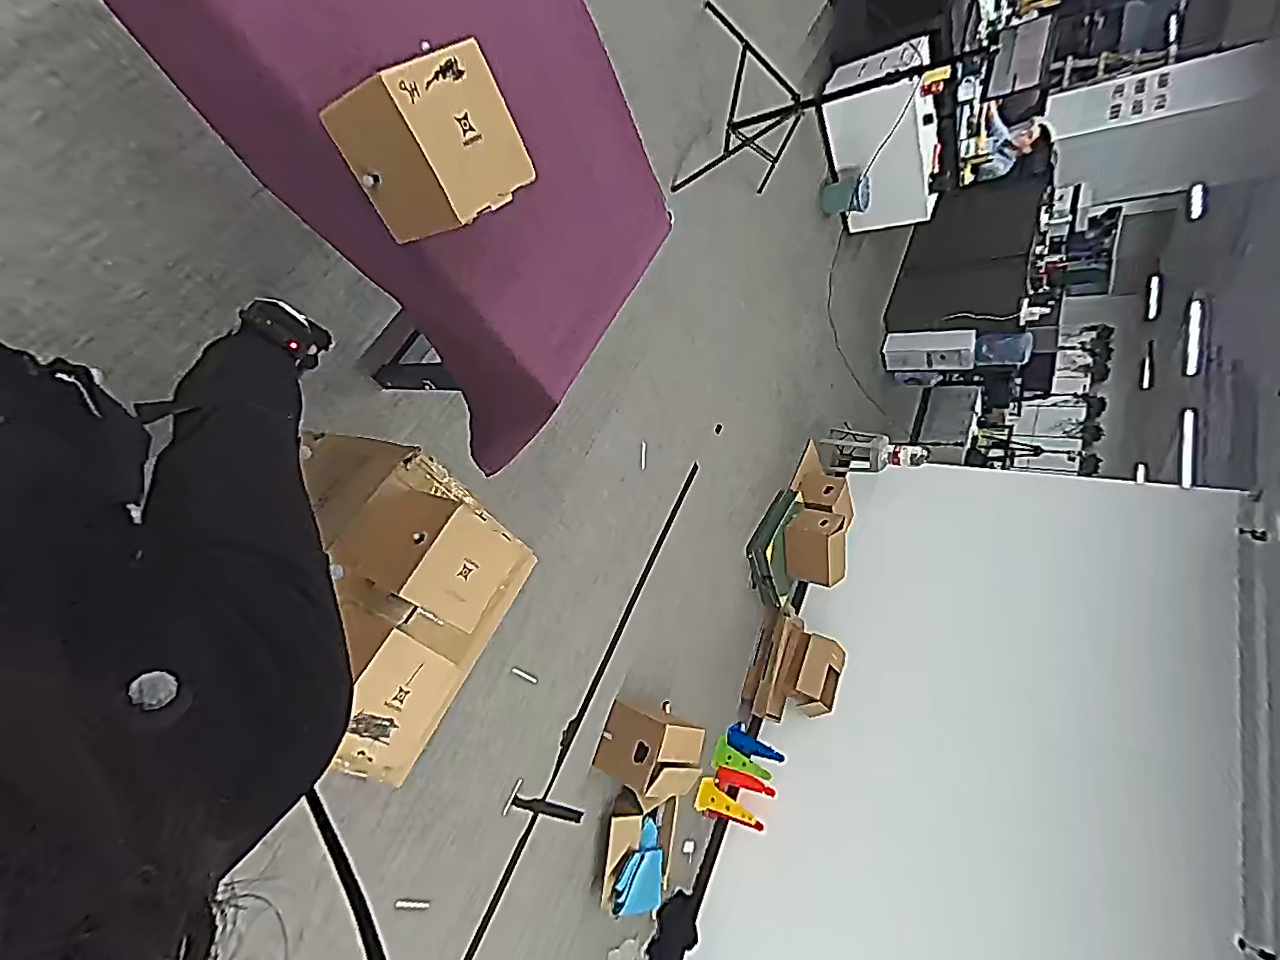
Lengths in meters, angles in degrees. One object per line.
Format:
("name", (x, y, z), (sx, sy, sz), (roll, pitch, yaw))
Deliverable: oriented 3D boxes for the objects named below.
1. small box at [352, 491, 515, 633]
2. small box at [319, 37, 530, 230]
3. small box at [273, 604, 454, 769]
("small box", (-0.364, 0.136, 0.953), (0.168, 0.176, 0.179), (52, 58, -42))
("small box", (-0.294, -0.467, 0.752), (0.168, 0.176, 0.179), (-53, 136, -33))
("small box", (-0.450, 0.327, 0.875), (0.179, 0.176, 0.168), (-61, 138, -28))
